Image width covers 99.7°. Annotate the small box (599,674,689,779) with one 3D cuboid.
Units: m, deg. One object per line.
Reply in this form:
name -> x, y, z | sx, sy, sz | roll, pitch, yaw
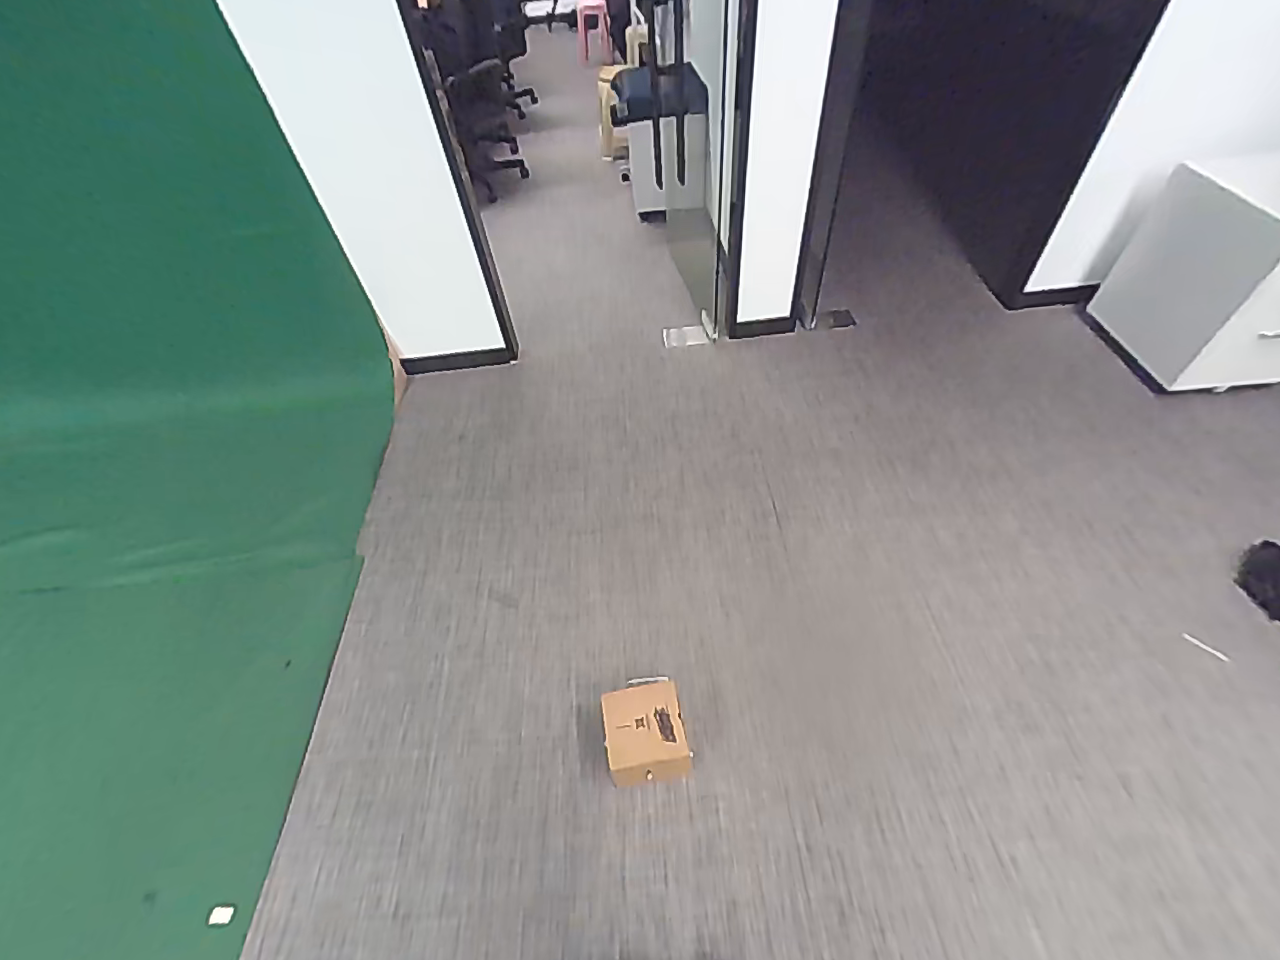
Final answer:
small box -> 0.008, 0.582, 1.272 | 0.179, 0.176, 0.168 | -12, 50, -6
